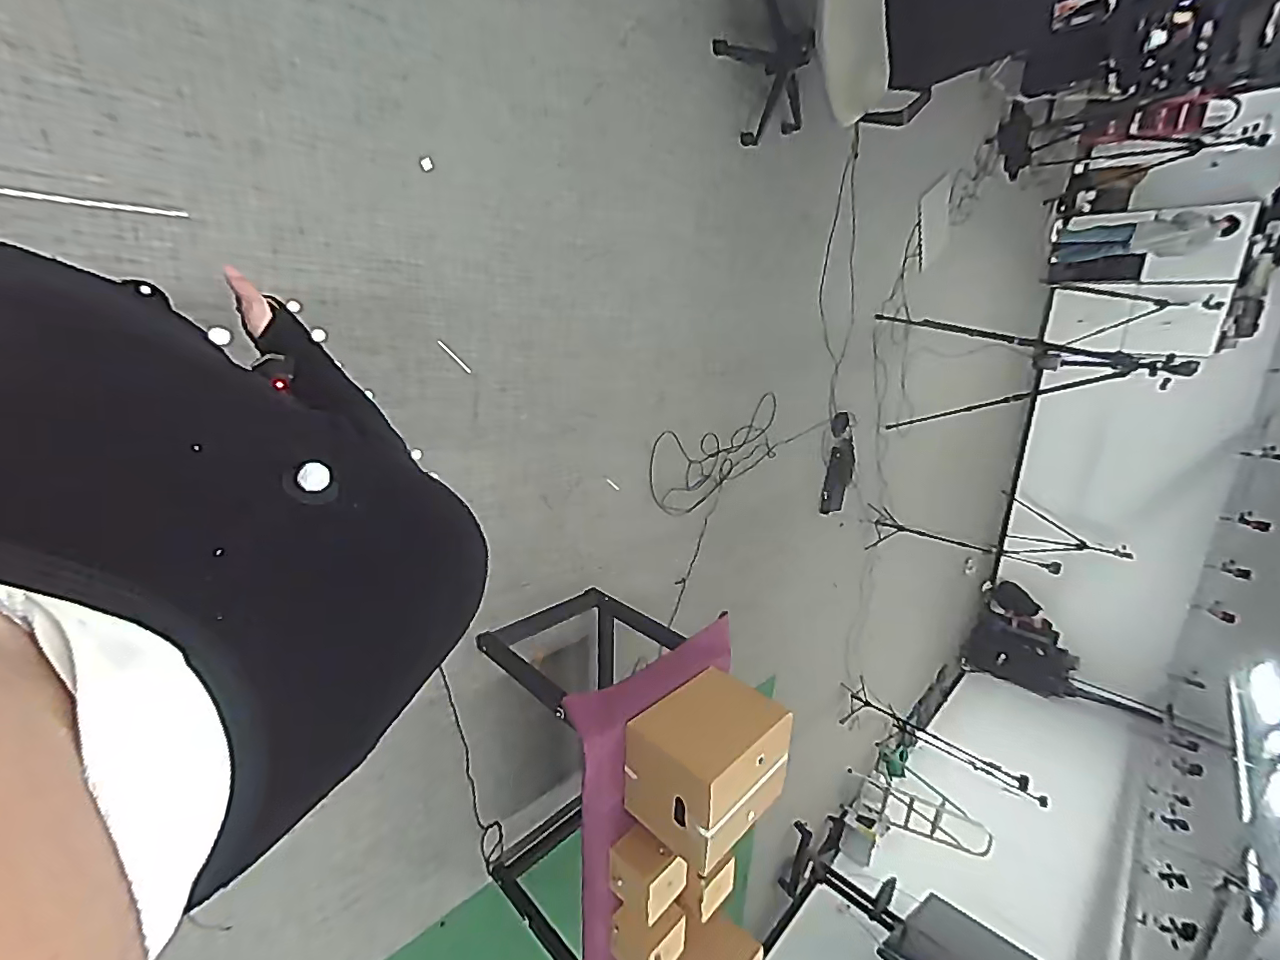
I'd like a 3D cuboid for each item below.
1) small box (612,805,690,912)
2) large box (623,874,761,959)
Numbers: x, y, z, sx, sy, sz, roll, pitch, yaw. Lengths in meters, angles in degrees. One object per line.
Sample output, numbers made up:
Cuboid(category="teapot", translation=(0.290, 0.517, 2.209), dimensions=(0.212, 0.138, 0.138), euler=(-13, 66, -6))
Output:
Cuboid(category="small box", translation=(0.034, 1.163, 1.680), dimensions=(0.179, 0.176, 0.168), euler=(-17, 114, -44))
Cuboid(category="large box", translation=(0.184, 1.751, 1.929), dimensions=(0.408, 0.320, 0.320), euler=(-13, 110, -44))
